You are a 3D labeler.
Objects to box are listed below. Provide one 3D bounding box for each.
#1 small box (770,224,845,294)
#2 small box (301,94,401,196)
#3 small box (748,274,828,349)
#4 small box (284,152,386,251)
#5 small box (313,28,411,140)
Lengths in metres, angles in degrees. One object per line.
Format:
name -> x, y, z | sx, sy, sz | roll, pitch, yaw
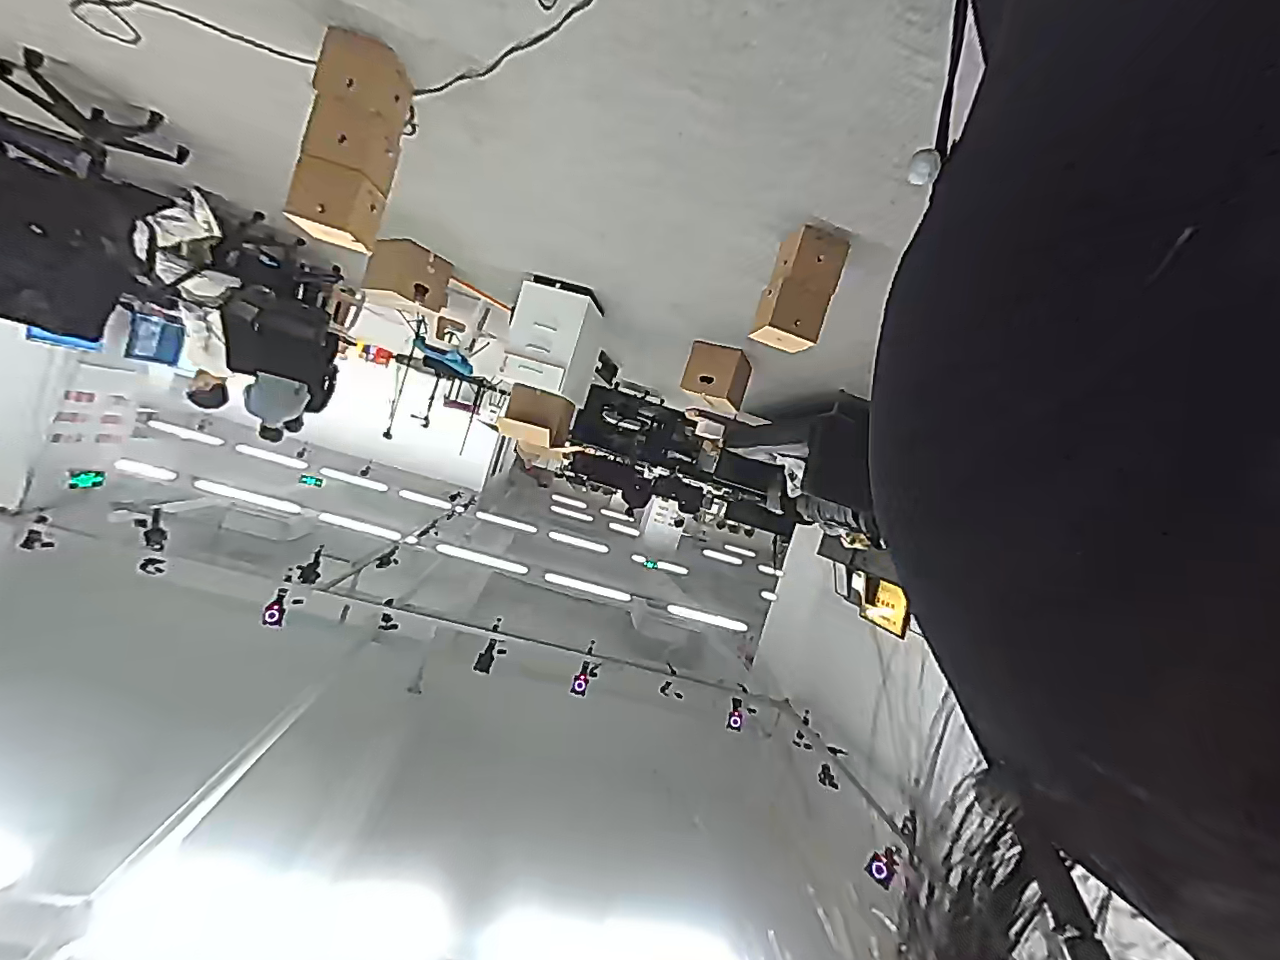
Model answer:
small box -> 0.542, -0.702, 1.759 | 0.168, 0.176, 0.179 | 17, -179, -11
small box -> -0.805, -0.938, 1.520 | 0.179, 0.176, 0.168 | 16, -178, -6
small box -> 0.484, -0.549, 1.766 | 0.179, 0.176, 0.168 | 18, 180, -11
small box -> -0.848, -0.781, 1.518 | 0.179, 0.176, 0.168 | 16, -179, -5
small box -> -0.759, -1.095, 1.499 | 0.179, 0.176, 0.168 | 18, -179, -2
